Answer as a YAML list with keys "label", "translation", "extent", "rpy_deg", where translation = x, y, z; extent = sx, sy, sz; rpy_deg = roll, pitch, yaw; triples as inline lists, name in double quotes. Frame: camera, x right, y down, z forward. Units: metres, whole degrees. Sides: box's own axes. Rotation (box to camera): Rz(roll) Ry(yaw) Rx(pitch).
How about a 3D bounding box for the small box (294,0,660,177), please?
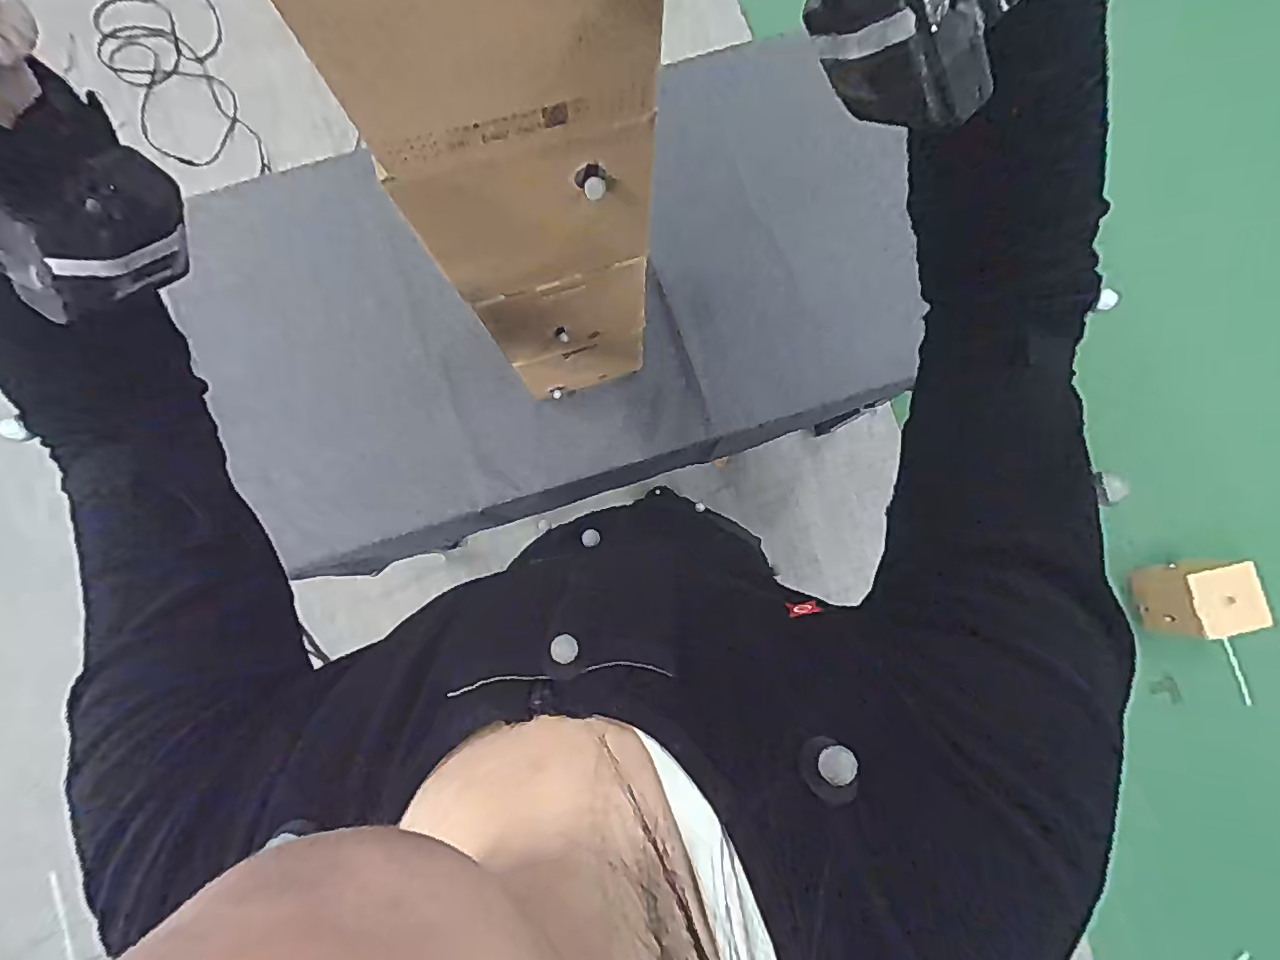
- label: "small box"
  translation: [-0.090, -0.291, 0.258]
  extent: [0.168, 0.176, 0.179]
  rpy_deg: [-15, 83, -2]

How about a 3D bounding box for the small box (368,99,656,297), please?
- label: "small box"
  translation: [-0.095, -0.270, 0.421]
  extent: [0.179, 0.176, 0.168]
  rpy_deg: [-16, 83, -2]

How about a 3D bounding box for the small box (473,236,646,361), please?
- label: "small box"
  translation: [-0.098, -0.254, 0.585]
  extent: [0.168, 0.176, 0.179]
  rpy_deg: [-18, 84, -2]

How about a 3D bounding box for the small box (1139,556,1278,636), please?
- label: "small box"
  translation: [1.462, 0.296, 1.410]
  extent: [0.179, 0.176, 0.168]
  rpy_deg: [-12, 84, -1]

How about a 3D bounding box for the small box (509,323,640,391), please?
- label: "small box"
  translation: [-0.099, -0.236, 0.746]
  extent: [0.168, 0.176, 0.179]
  rpy_deg: [-18, 83, -2]
